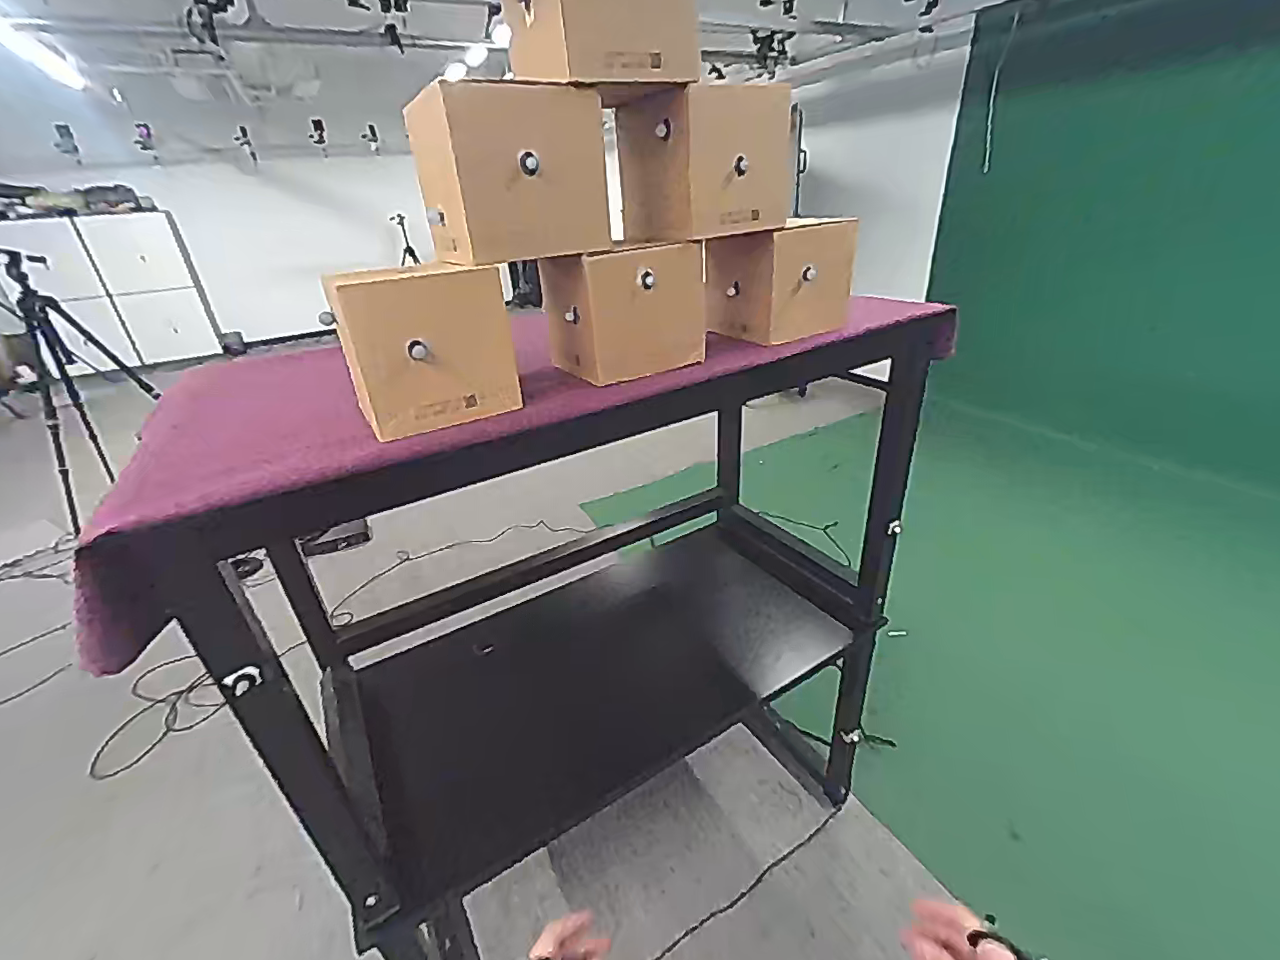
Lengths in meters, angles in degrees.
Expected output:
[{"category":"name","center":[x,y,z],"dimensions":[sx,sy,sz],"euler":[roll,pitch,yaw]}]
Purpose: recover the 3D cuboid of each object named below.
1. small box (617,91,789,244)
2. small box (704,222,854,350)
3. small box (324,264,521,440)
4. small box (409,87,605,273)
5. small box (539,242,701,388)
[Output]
[{"category":"small box","center":[0.087,-0.426,0.756],"dimensions":[0.168,0.176,0.179],"euler":[-20,30,-26]},{"category":"small box","center":[0.226,-0.323,0.894],"dimensions":[0.179,0.176,0.168],"euler":[-20,32,-25]},{"category":"small box","center":[-0.257,-0.158,0.650],"dimensions":[0.168,0.176,0.179],"euler":[-19,29,-27]},{"category":"small box","center":[-0.152,-0.349,0.645],"dimensions":[0.179,0.176,0.168],"euler":[-20,30,-26]},{"category":"small box","center":[-0.025,-0.239,0.771],"dimensions":[0.179,0.176,0.168],"euler":[-18,30,-25]}]
